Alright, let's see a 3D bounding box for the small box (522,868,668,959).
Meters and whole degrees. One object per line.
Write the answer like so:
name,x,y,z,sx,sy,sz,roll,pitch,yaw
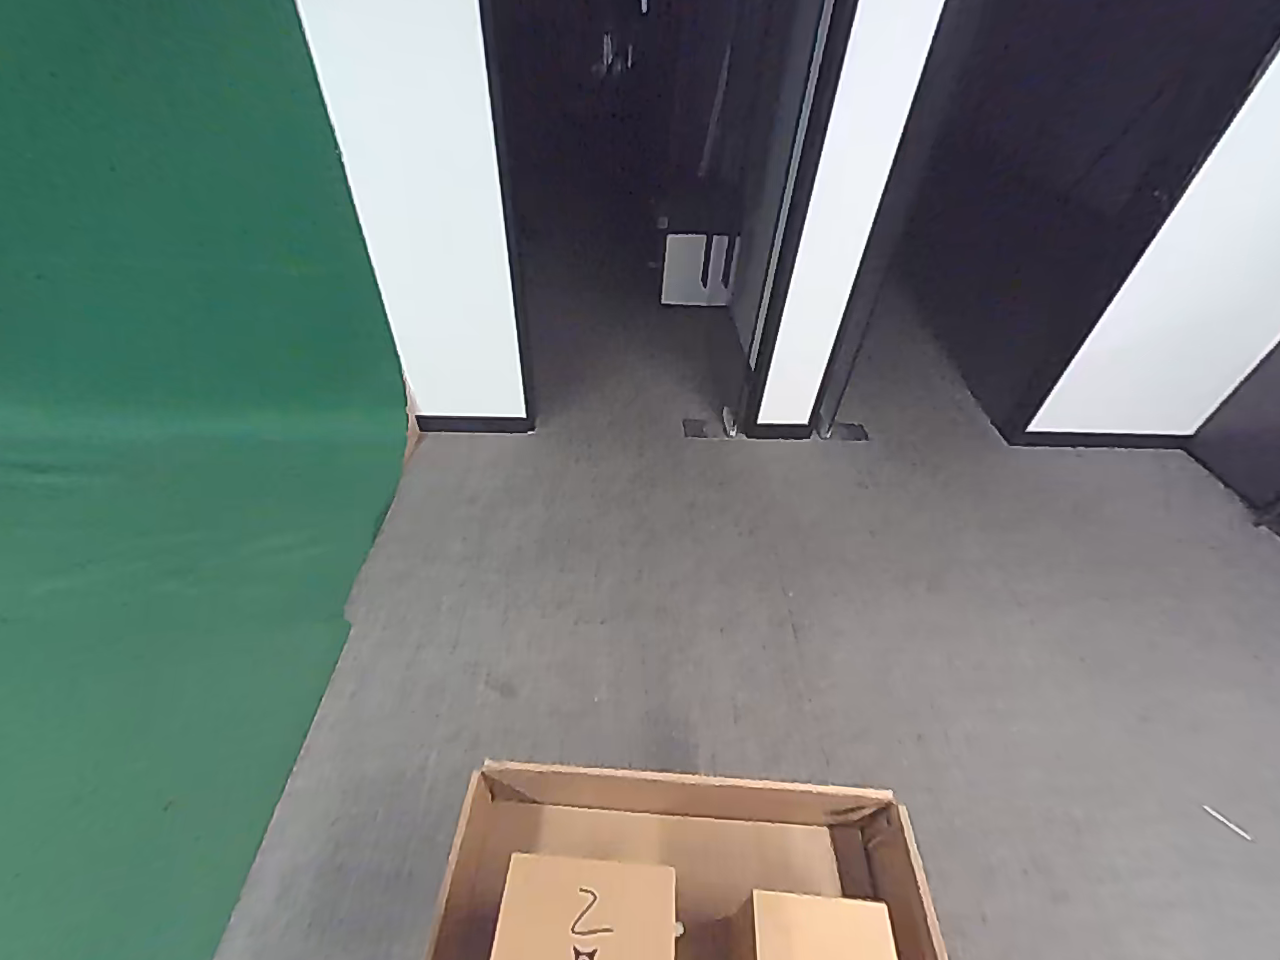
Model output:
small box,-0.056,0.599,0.656,0.168,0.176,0.179,3,44,0
